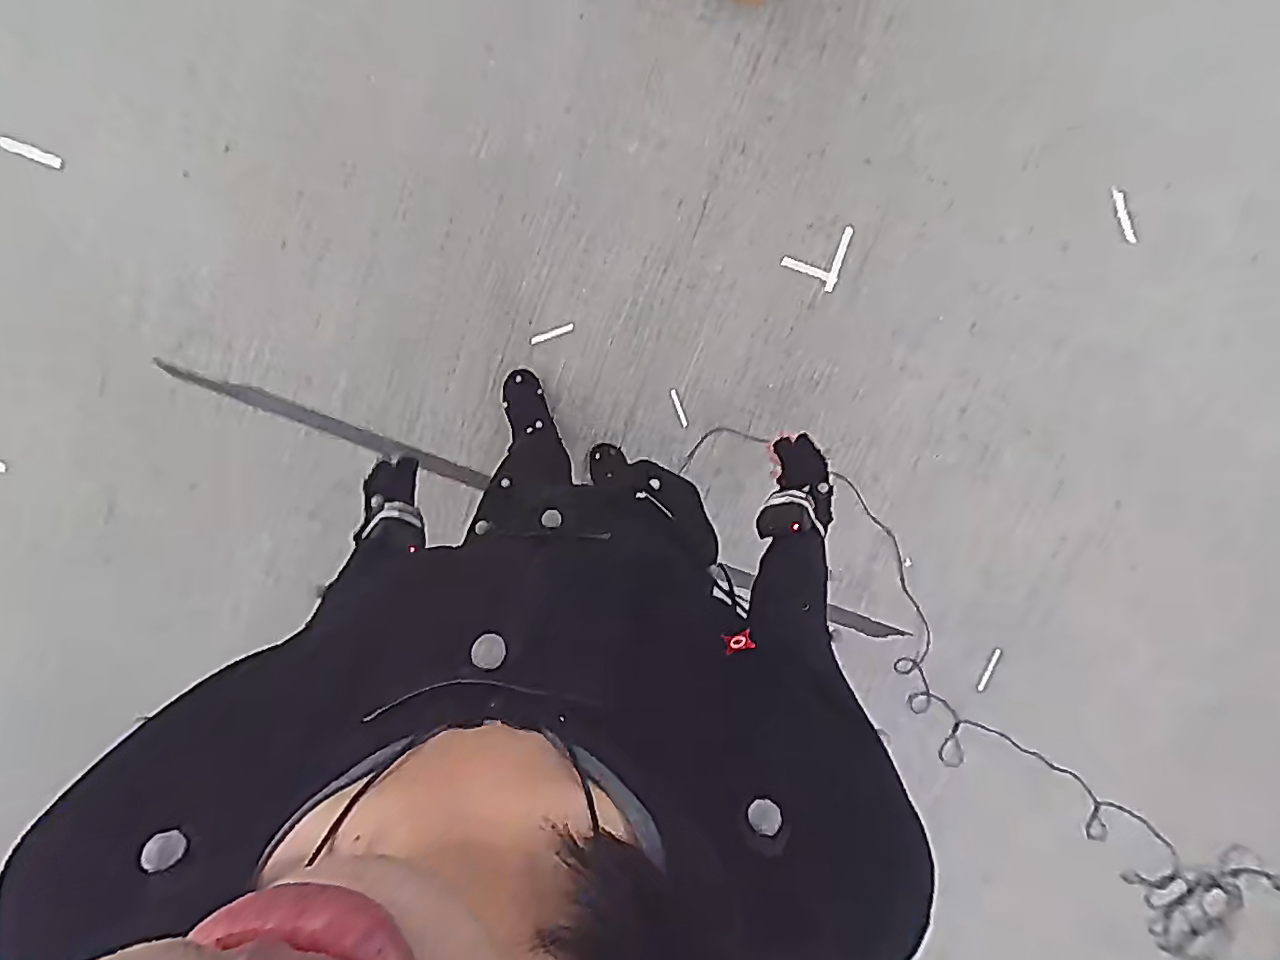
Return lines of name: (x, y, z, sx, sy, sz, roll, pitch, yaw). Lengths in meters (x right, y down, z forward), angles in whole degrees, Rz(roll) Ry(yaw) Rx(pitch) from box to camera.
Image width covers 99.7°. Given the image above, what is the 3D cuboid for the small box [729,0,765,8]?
small box: (0.255, -1.281, 1.284, 0.179, 0.176, 0.168, 12, 96, -3)
